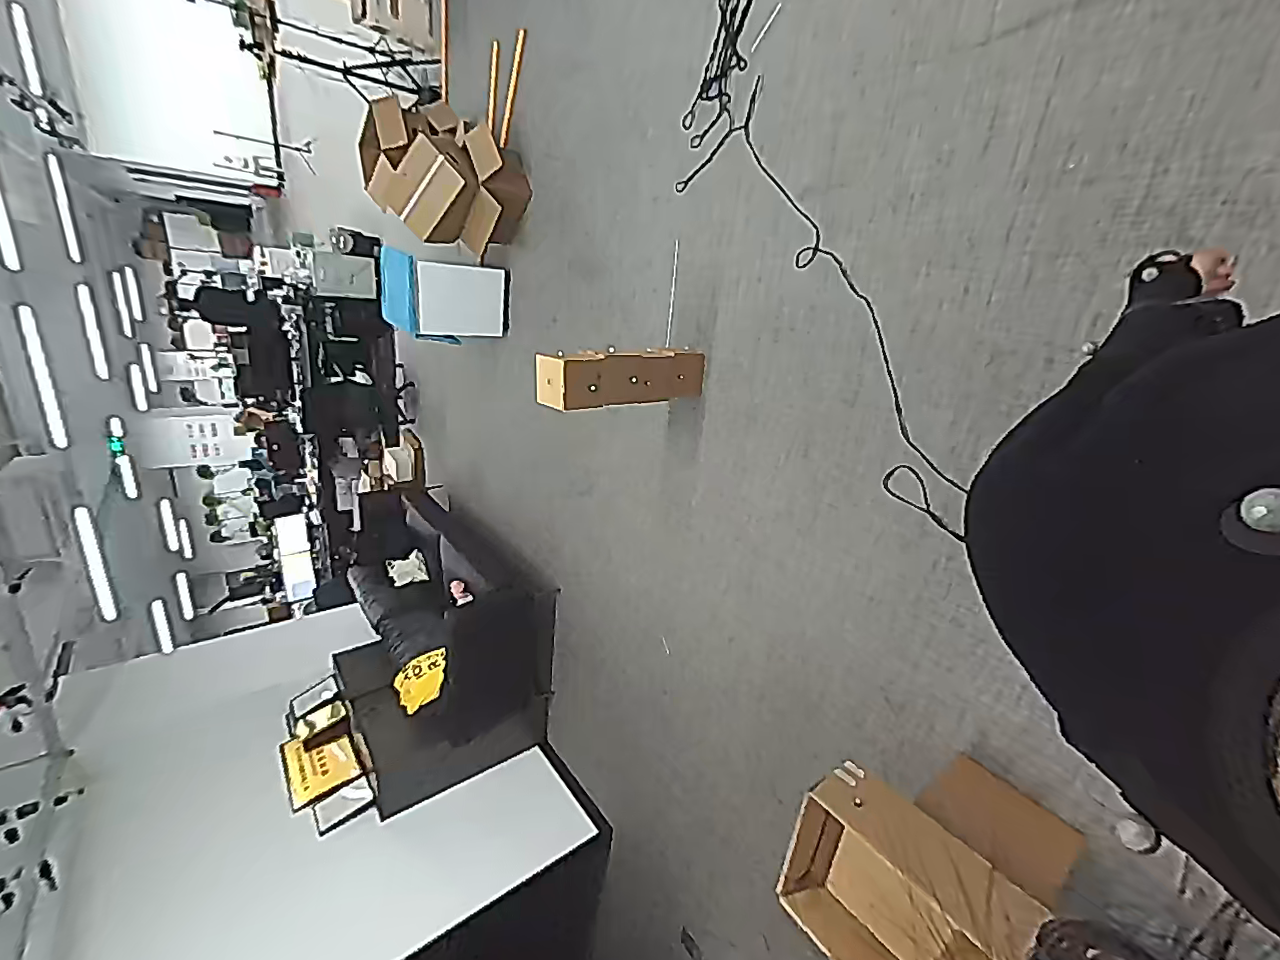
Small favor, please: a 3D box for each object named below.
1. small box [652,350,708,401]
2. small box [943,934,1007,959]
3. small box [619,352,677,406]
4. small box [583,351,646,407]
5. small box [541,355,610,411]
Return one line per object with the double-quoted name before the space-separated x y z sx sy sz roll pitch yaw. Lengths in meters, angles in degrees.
"small box" 0.154 -0.421 2.154 0.168 0.176 0.179 26 118 47
"small box" 0.679 1.061 1.073 0.179 0.176 0.168 30 121 45
"small box" 0.024 -0.389 2.059 0.168 0.176 0.179 26 118 46
"small box" -0.095 -0.366 1.949 0.168 0.176 0.179 24 116 48
"small box" -0.223 -0.337 1.850 0.179 0.176 0.168 23 116 47
